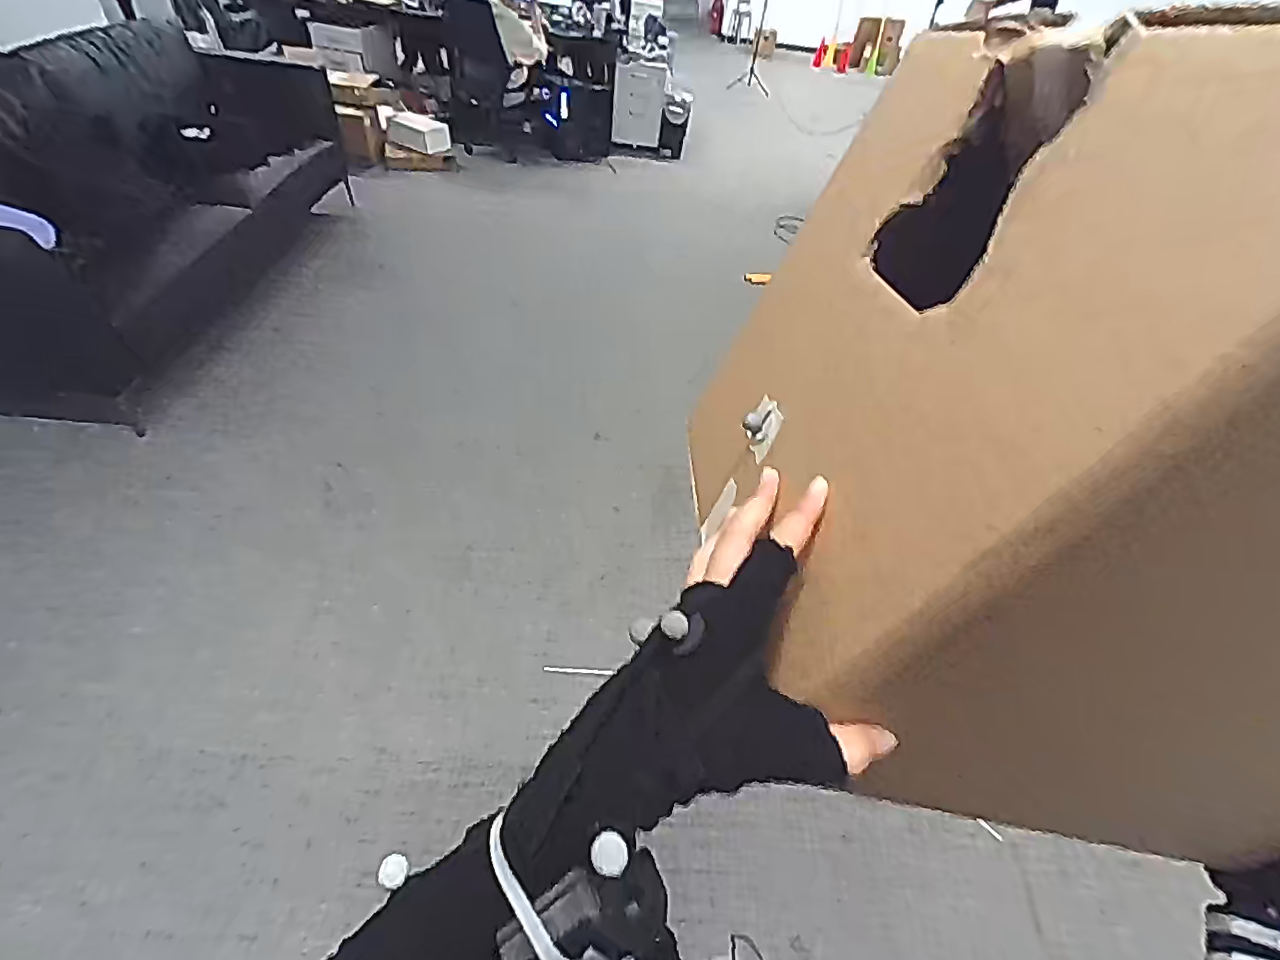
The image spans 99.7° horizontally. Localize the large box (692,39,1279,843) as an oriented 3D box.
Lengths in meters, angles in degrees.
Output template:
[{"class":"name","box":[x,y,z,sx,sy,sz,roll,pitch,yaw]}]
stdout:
[{"class":"large box","box":[0.291,-0.003,0.357,0.408,0.320,0.320,19,36,-16]}]
